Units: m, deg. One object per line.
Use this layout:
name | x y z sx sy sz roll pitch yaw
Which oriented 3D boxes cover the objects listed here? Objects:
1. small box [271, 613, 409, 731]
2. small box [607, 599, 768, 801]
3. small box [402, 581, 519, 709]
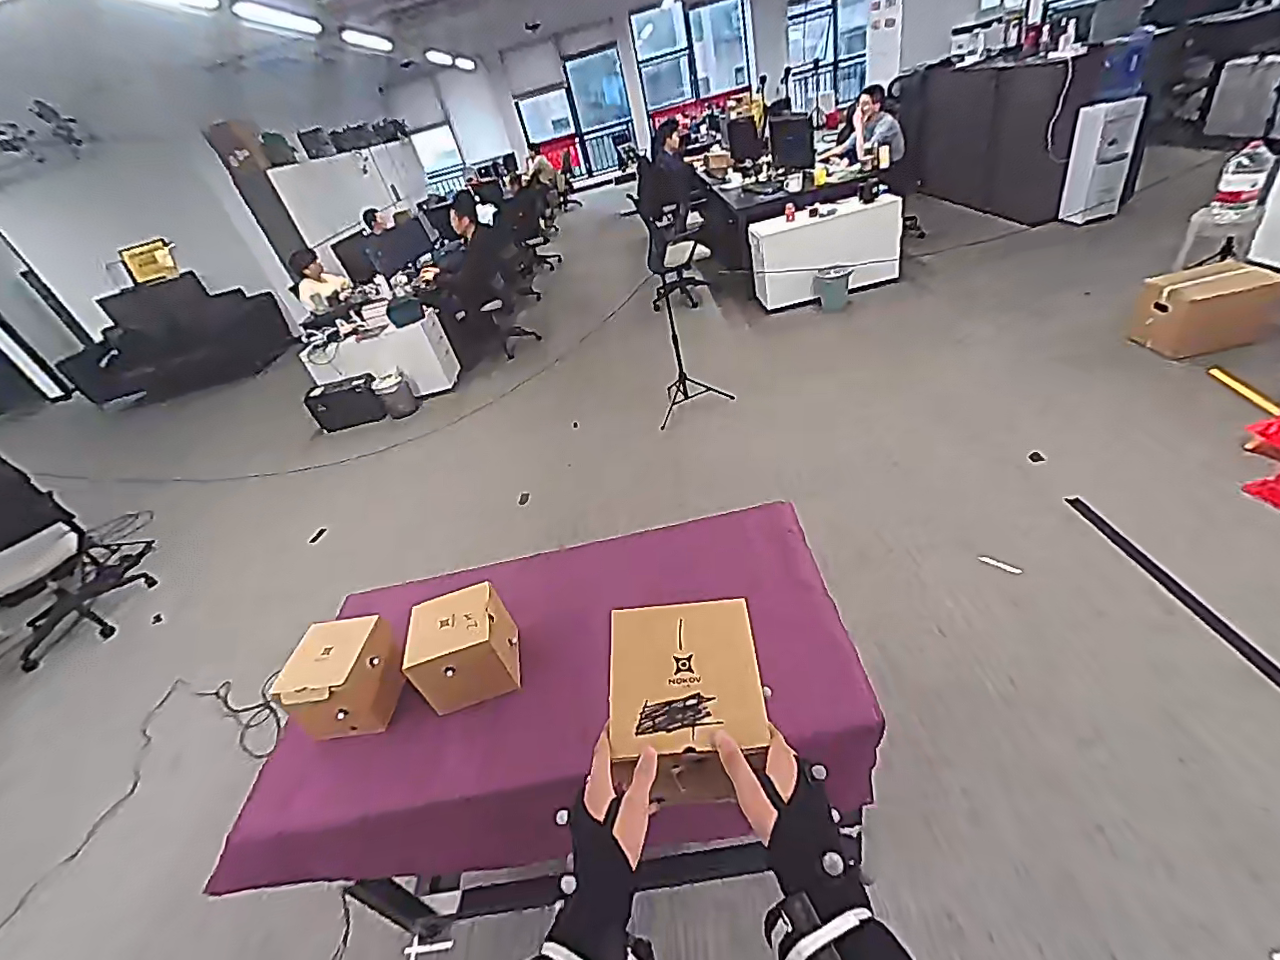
small box | -0.620 0.413 1.149 0.168 0.176 0.179 -9 35 8
small box | 0.058 0.269 0.650 0.168 0.176 0.179 -6 43 4
small box | -0.367 0.349 1.137 0.179 0.176 0.168 -17 36 -3
